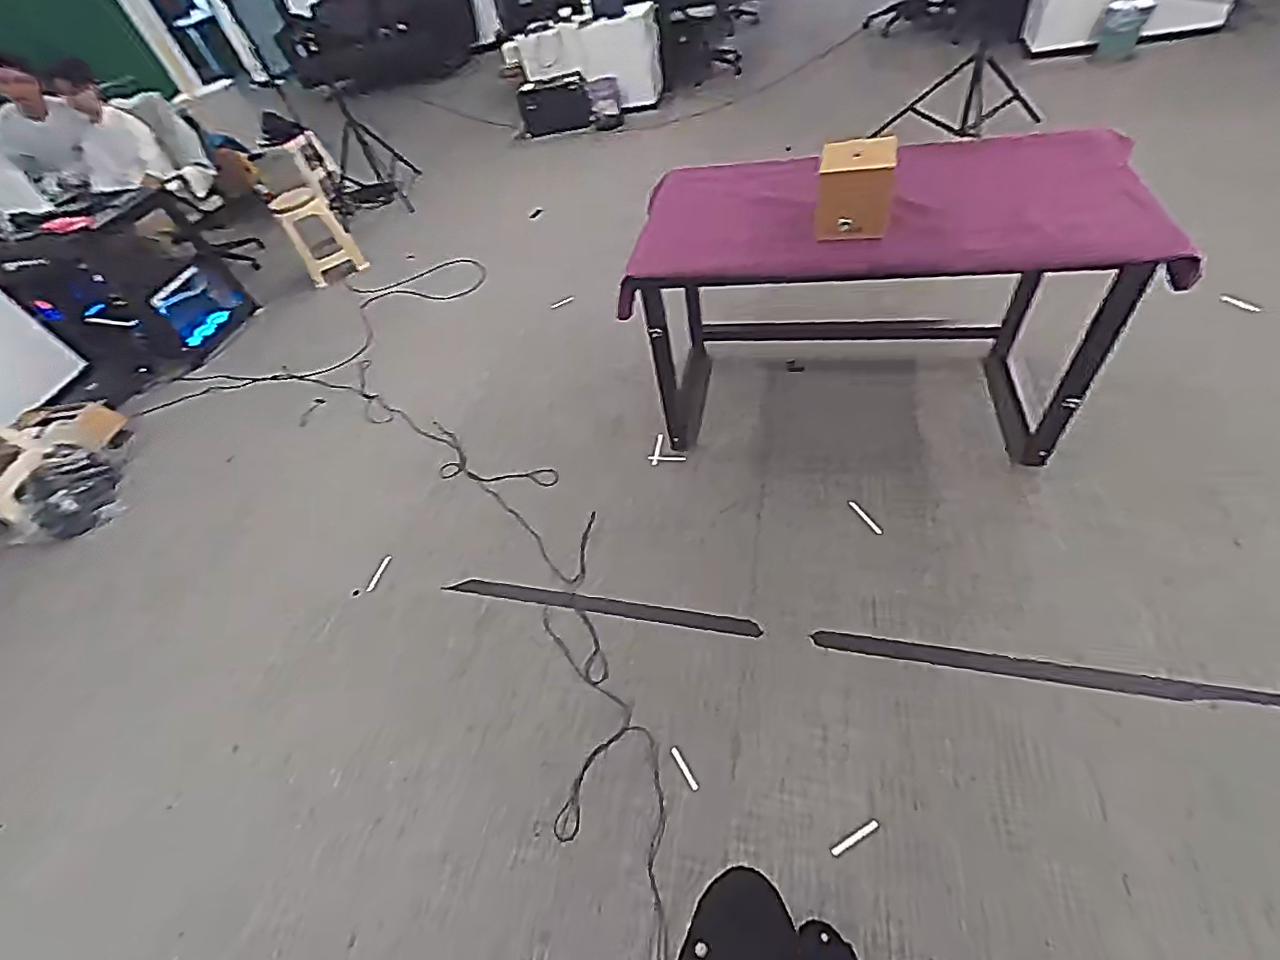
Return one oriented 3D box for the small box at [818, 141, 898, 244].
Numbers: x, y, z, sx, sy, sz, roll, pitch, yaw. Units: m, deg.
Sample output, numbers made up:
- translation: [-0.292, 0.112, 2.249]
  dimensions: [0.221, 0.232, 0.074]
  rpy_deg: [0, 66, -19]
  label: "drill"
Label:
- translation: [0.533, -0.706, 1.333]
  dimensions: [0.168, 0.176, 0.179]
  rpy_deg: [5, 52, 18]
  label: "small box"
